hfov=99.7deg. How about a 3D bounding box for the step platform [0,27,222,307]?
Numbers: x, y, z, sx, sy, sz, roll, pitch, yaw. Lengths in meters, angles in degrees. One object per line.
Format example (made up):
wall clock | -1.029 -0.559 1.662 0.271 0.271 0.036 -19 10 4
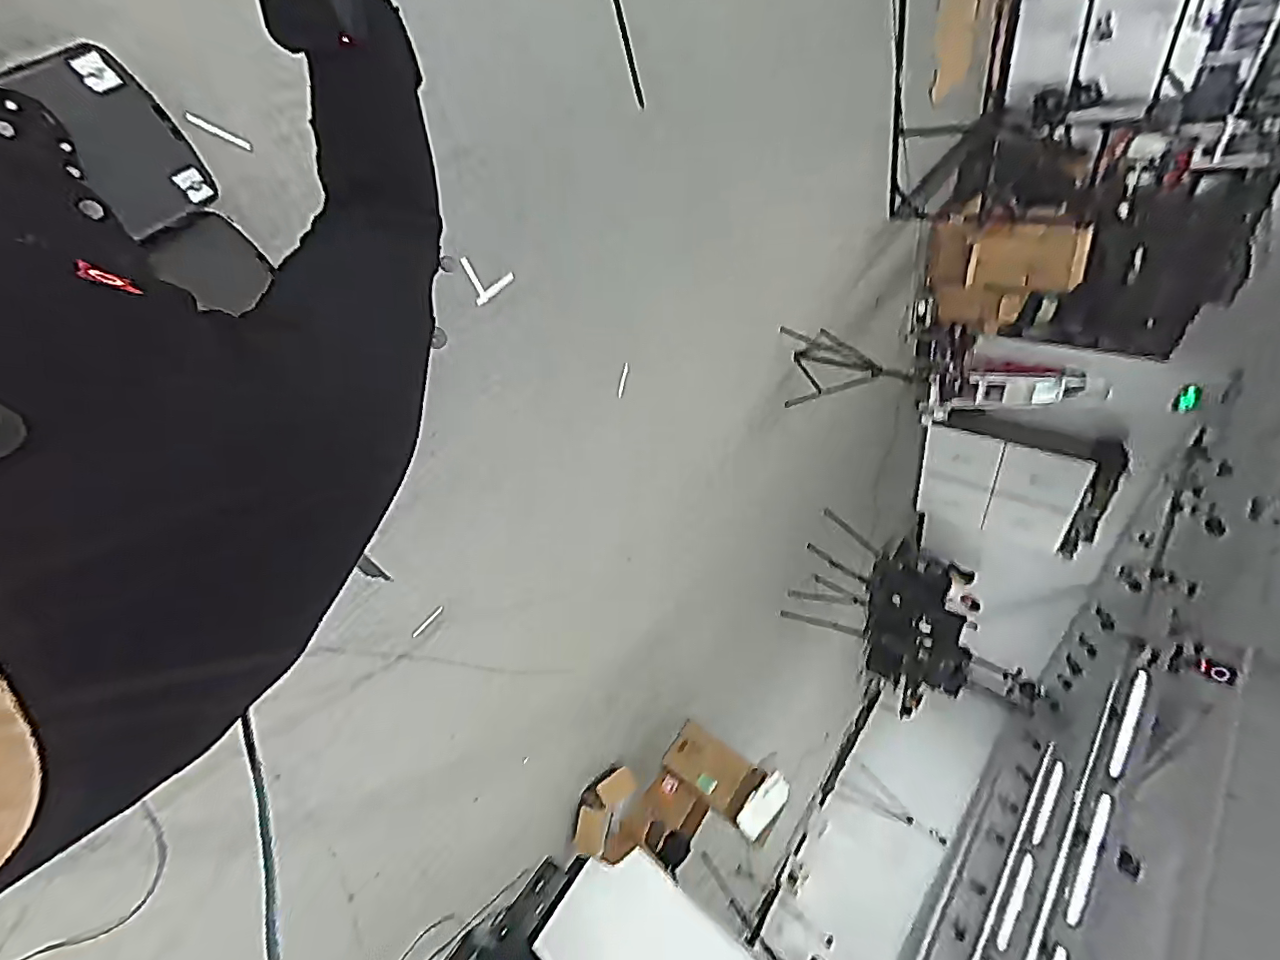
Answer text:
step platform | -1.158 -0.524 0.971 0.684 0.204 0.286 -50 141 -23
